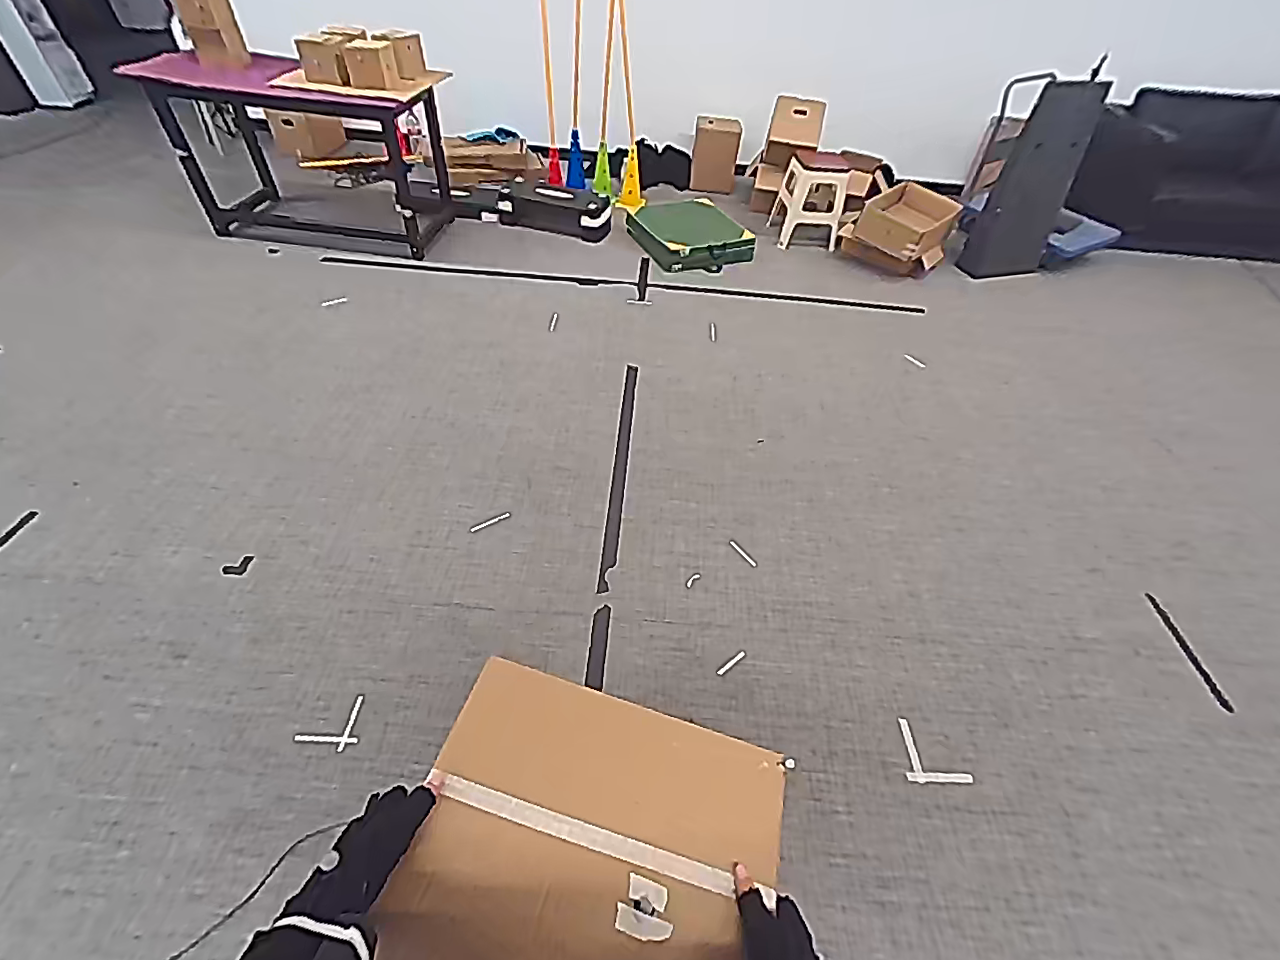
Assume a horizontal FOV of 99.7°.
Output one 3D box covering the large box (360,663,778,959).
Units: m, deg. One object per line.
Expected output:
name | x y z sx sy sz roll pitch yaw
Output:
large box | -0.072 0.504 0.715 0.408 0.320 0.320 18 46 4
